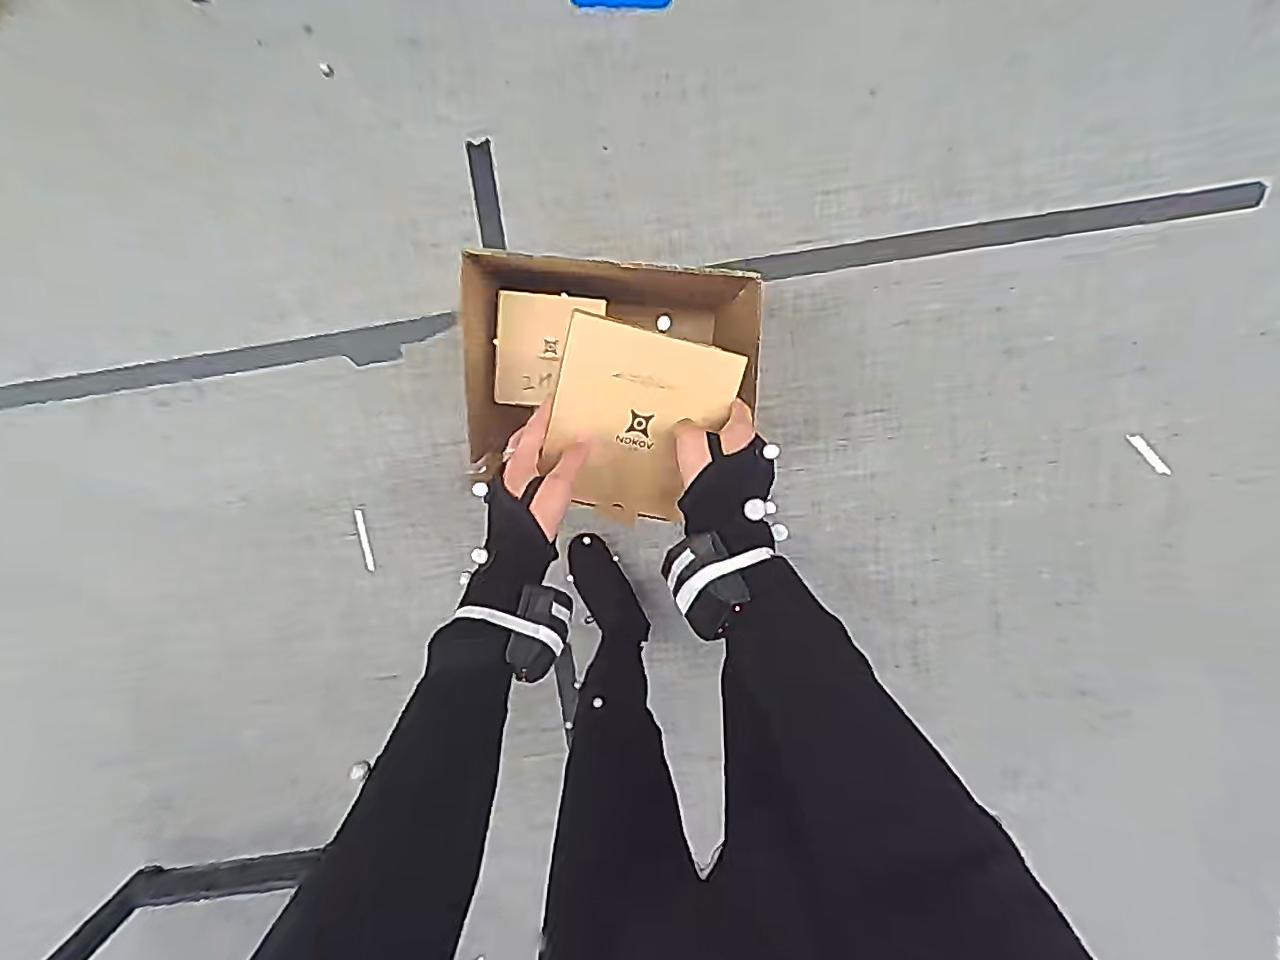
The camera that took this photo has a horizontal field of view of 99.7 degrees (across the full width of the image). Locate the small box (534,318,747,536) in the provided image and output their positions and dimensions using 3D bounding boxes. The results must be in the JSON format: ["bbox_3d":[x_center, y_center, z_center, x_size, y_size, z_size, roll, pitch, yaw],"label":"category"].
[{"bbox_3d":[-0.009,-0.065,0.581,0.168,0.176,0.179,13,106,-11],"label":"small box"}]
